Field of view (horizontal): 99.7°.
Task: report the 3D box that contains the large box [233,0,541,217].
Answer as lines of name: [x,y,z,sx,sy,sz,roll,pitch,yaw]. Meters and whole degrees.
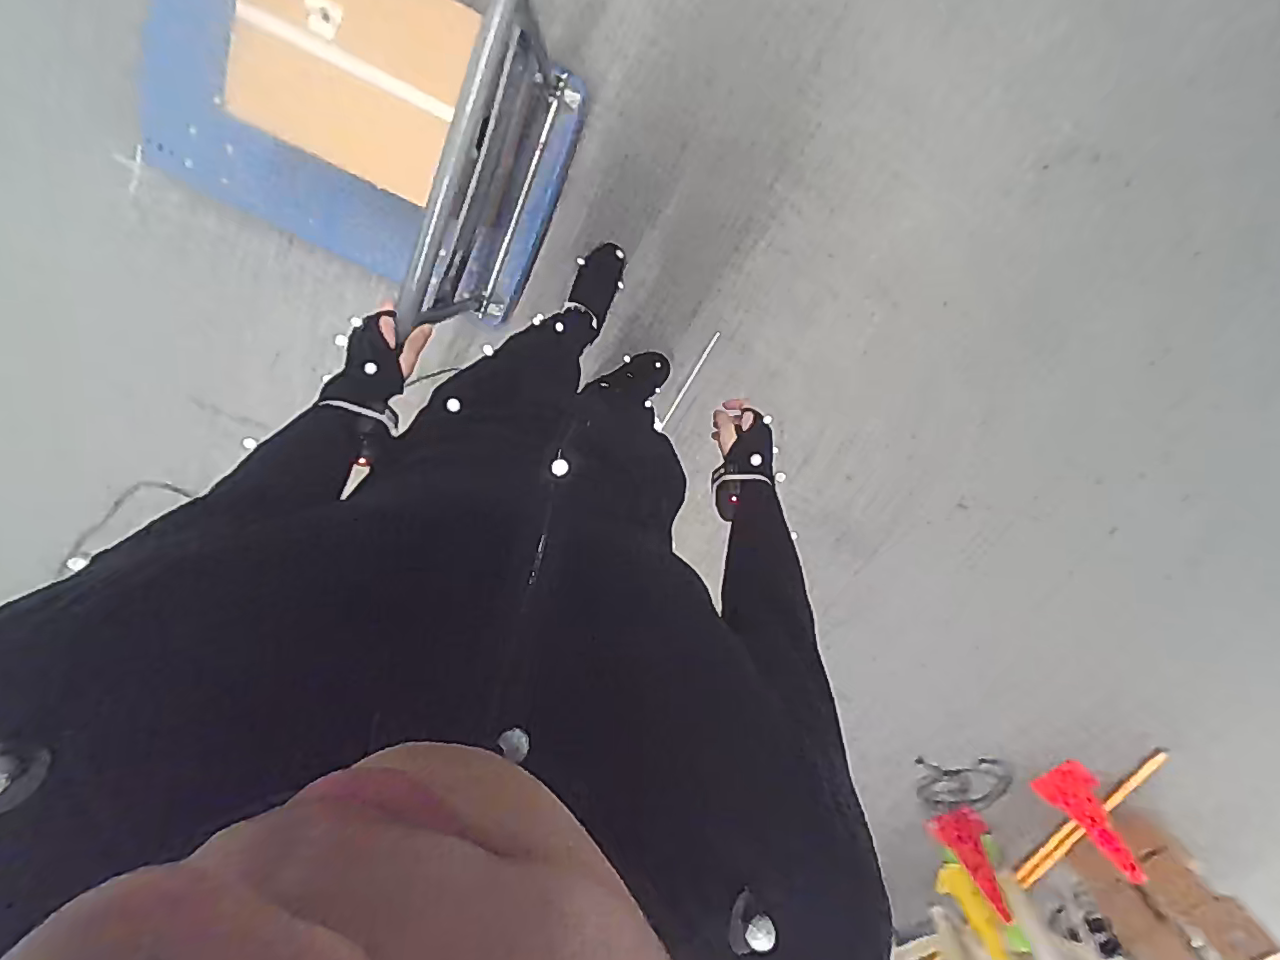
large box: [-0.449,-0.749,1.034,0.408,0.320,0.320,24,110,-8]
